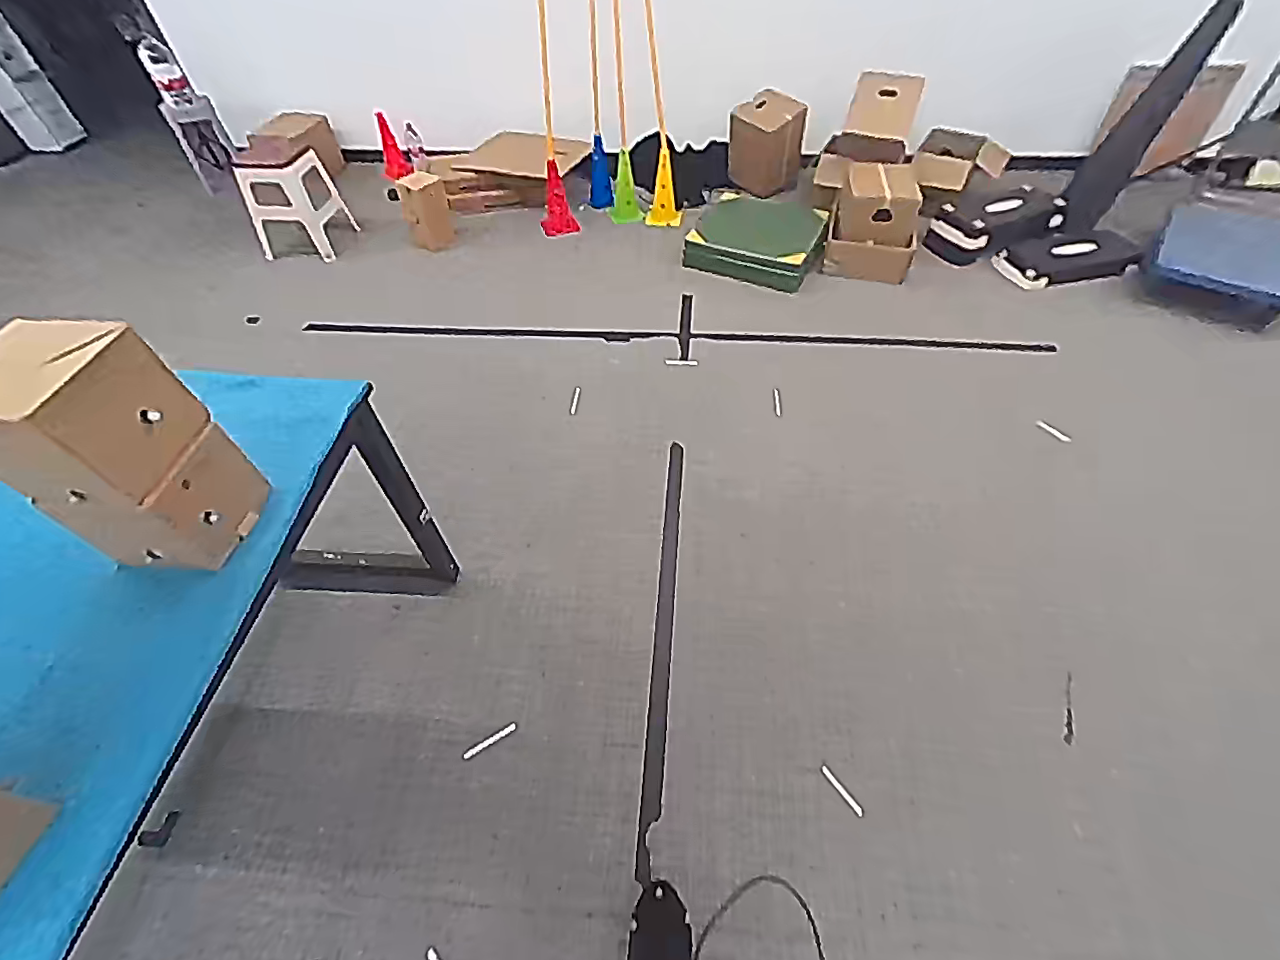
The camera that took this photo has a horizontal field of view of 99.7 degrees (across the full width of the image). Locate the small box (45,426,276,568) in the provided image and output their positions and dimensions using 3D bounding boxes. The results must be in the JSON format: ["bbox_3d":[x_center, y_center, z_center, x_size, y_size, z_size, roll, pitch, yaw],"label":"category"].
[{"bbox_3d":[-0.727,0.022,0.837,0.179,0.176,0.168,2,50,3],"label":"small box"}]

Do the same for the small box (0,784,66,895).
[{"bbox_3d":[-0.775,0.381,0.537,0.179,0.176,0.168,7,50,6],"label":"small box"}]

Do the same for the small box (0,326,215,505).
[{"bbox_3d":[-0.736,-0.088,0.715,0.168,0.176,0.179,3,53,6],"label":"small box"}]
